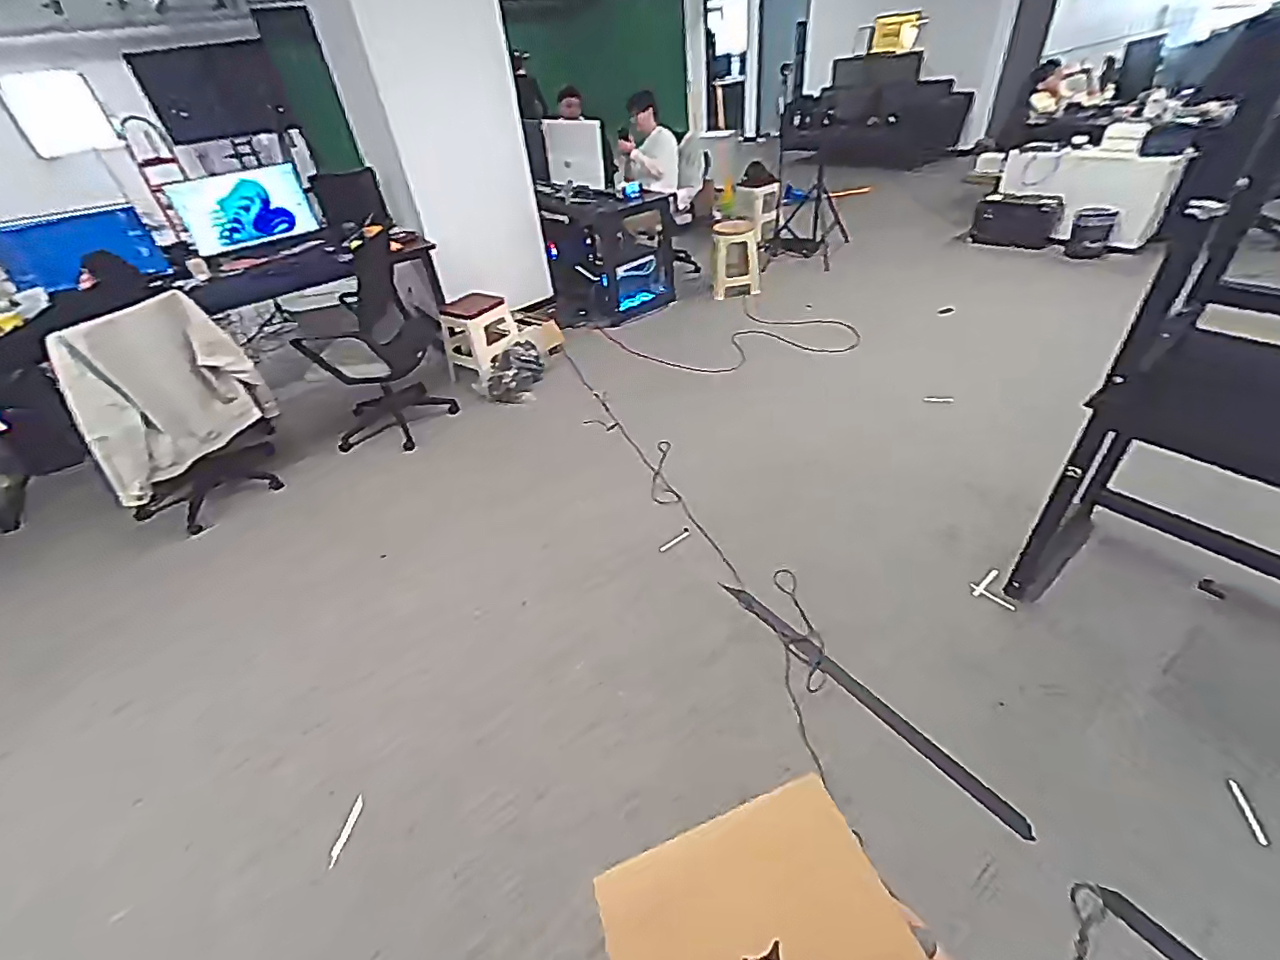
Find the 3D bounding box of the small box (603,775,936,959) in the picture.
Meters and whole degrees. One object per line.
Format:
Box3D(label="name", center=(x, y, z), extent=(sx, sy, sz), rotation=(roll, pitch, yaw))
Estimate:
Box3D(label="small box", center=(0.089, 0.334, 0.339), extent=(0.168, 0.176, 0.179), rotation=(-19, 38, -9))
